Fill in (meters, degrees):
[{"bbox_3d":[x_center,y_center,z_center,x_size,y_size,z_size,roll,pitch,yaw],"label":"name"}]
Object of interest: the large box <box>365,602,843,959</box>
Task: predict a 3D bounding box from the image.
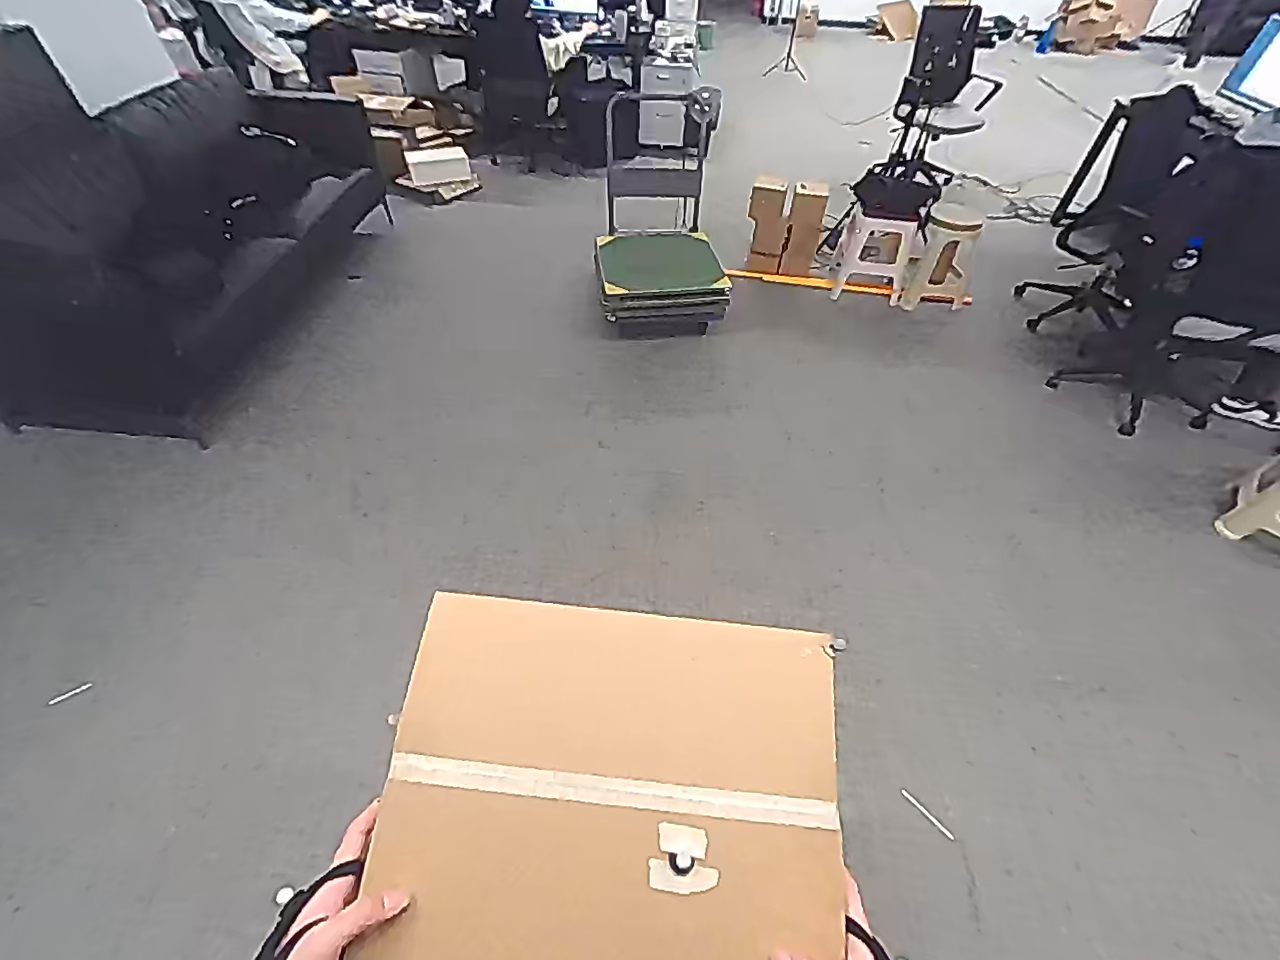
[{"bbox_3d":[-0.024,0.342,0.634,0.408,0.320,0.320,5,67,1],"label":"large box"}]
